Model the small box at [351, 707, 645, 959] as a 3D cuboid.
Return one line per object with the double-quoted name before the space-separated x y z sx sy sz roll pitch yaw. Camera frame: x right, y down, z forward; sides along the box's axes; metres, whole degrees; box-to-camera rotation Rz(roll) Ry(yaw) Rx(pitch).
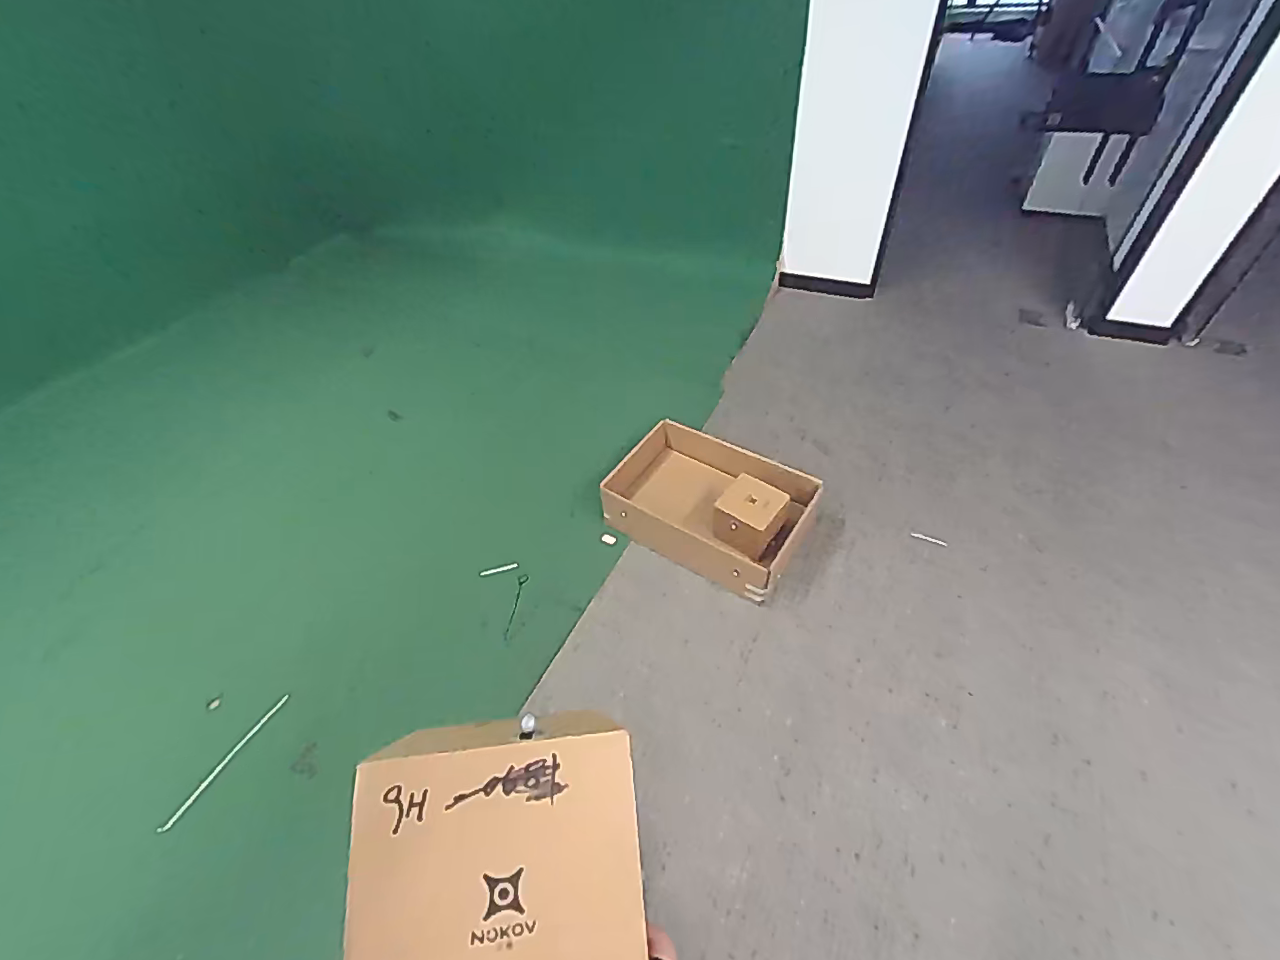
"small box" -0.095 0.271 0.389 0.168 0.176 0.179 -1 72 -13
